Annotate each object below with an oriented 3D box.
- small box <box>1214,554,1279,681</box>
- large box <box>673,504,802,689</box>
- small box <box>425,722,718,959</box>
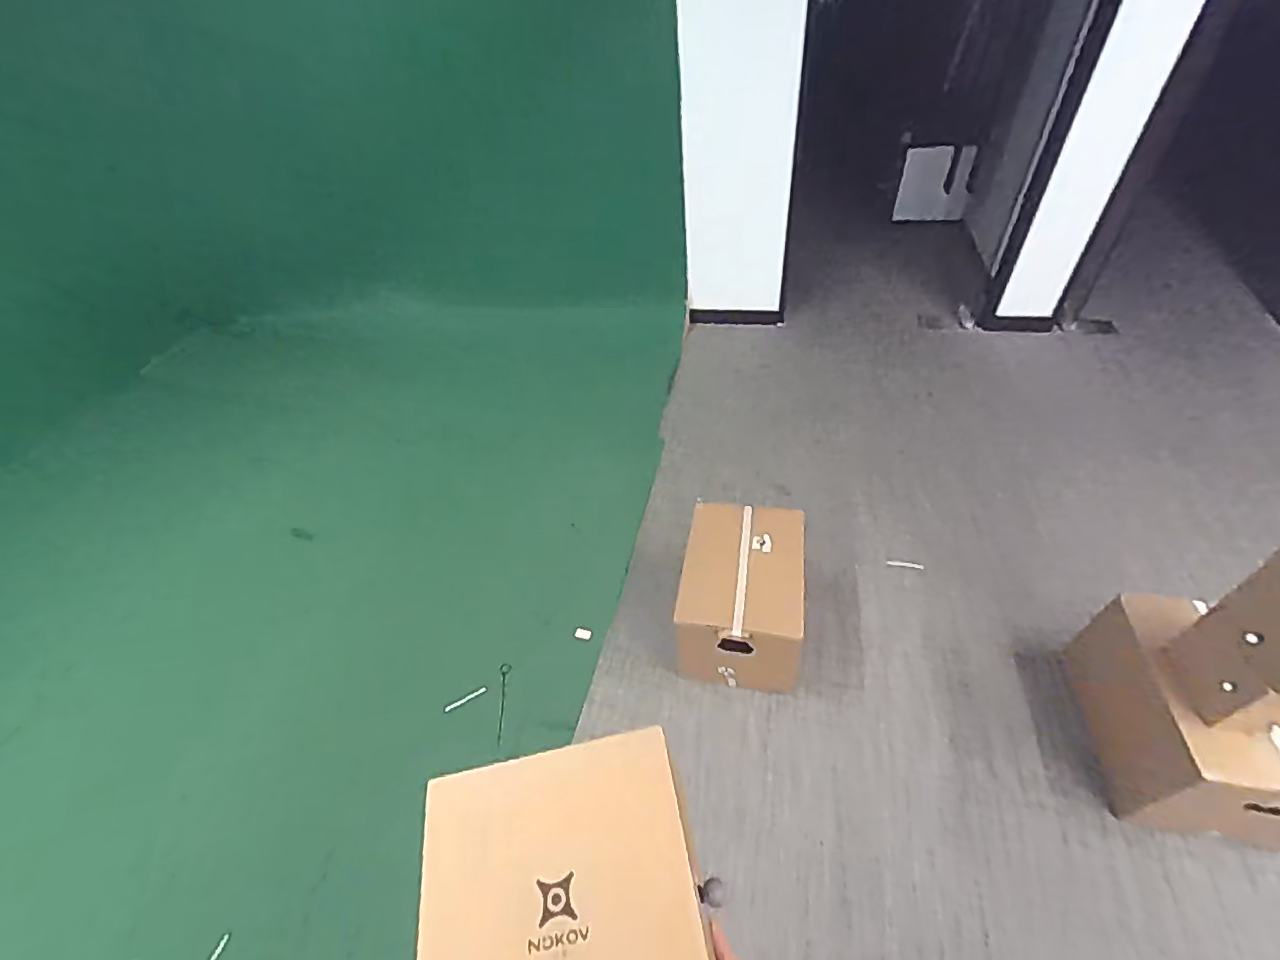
[{"bbox_3d":[1.165,0.241,0.917,0.168,0.176,0.179,-3,47,8],"label":"small box"},{"bbox_3d":[0.284,0.324,1.532,0.320,0.320,0.408,4,46,13],"label":"large box"},{"bbox_3d":[-0.038,0.300,0.384,0.168,0.176,0.179,-13,51,-1],"label":"small box"}]
